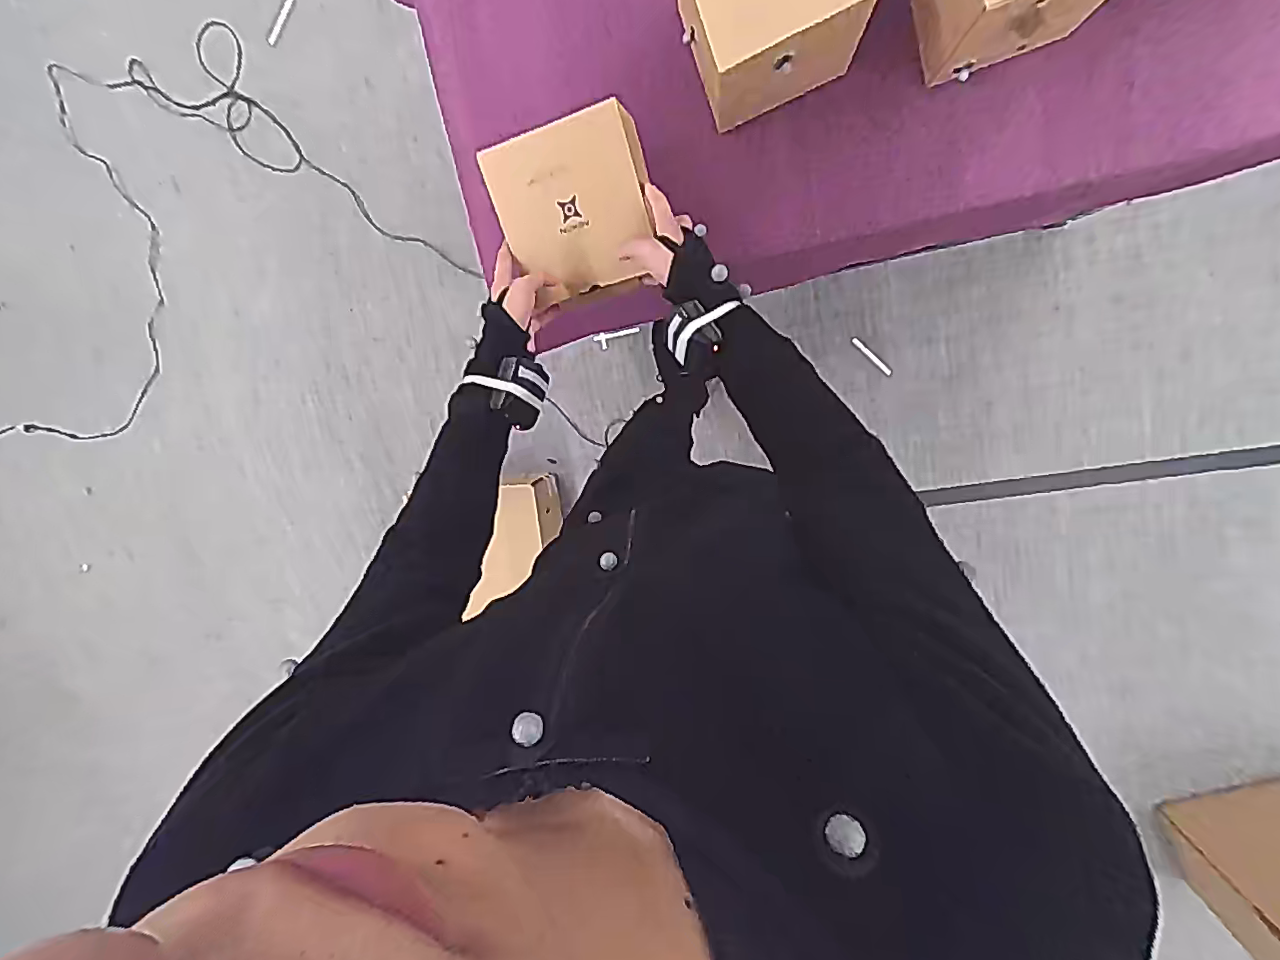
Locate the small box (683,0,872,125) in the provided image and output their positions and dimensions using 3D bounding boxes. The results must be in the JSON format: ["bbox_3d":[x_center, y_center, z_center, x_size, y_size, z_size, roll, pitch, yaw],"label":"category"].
[{"bbox_3d":[0.149,-0.558,0.629,0.179,0.176,0.168,-19,100,12],"label":"small box"}]

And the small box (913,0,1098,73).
[{"bbox_3d":[0.409,-0.585,0.583,0.168,0.176,0.179,-15,99,11],"label":"small box"}]

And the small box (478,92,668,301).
[{"bbox_3d":[-0.067,-0.343,0.676,0.168,0.176,0.179,-13,114,13],"label":"small box"}]
